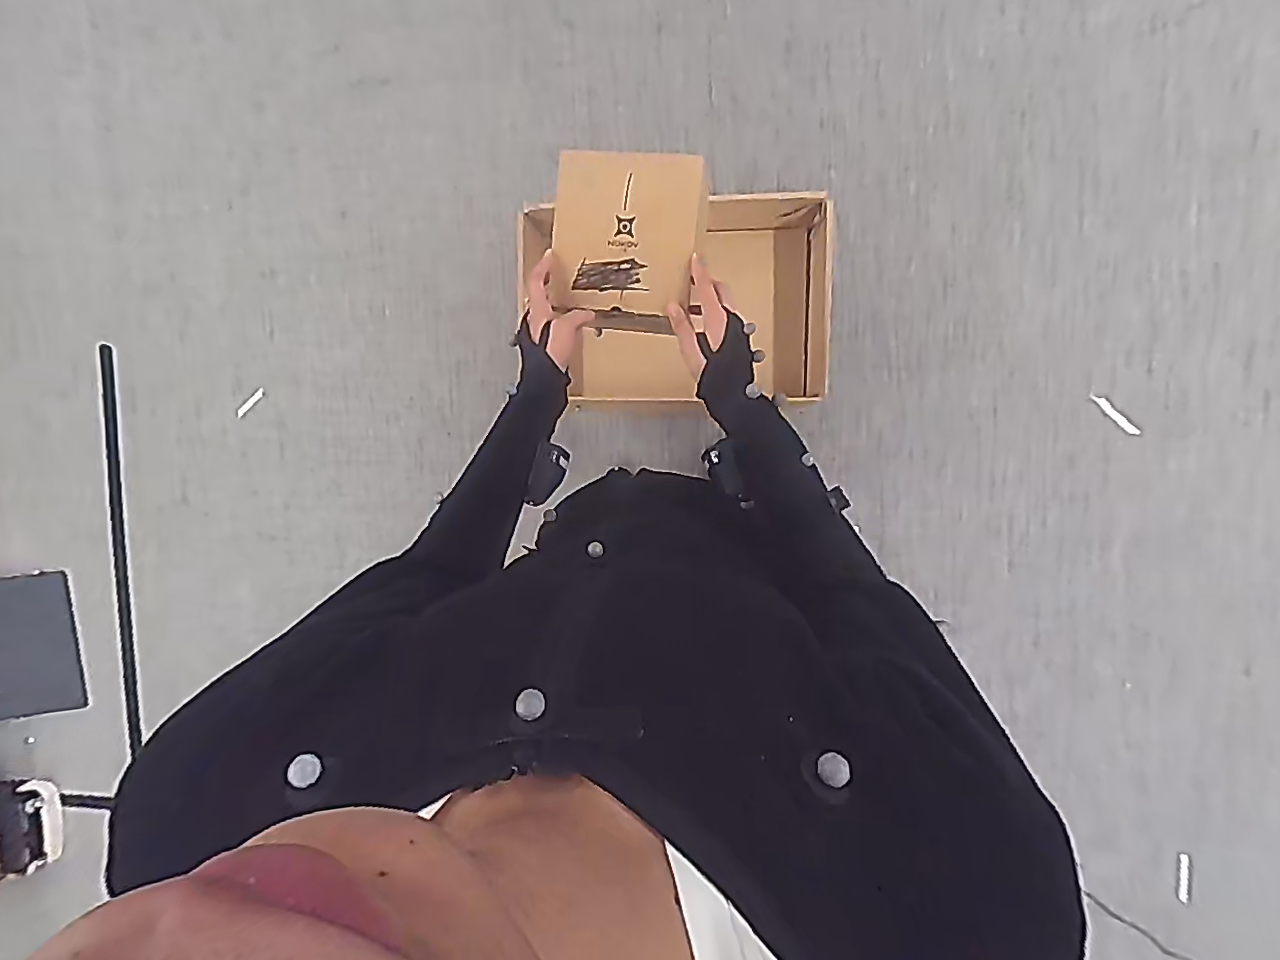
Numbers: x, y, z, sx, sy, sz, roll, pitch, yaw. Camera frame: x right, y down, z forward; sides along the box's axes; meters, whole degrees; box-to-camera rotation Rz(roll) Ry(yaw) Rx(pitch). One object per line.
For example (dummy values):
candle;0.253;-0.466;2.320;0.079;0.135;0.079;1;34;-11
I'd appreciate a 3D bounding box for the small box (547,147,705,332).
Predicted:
small box;-0.009;-0.291;0.688;0.168;0.176;0.179;7;99;7
